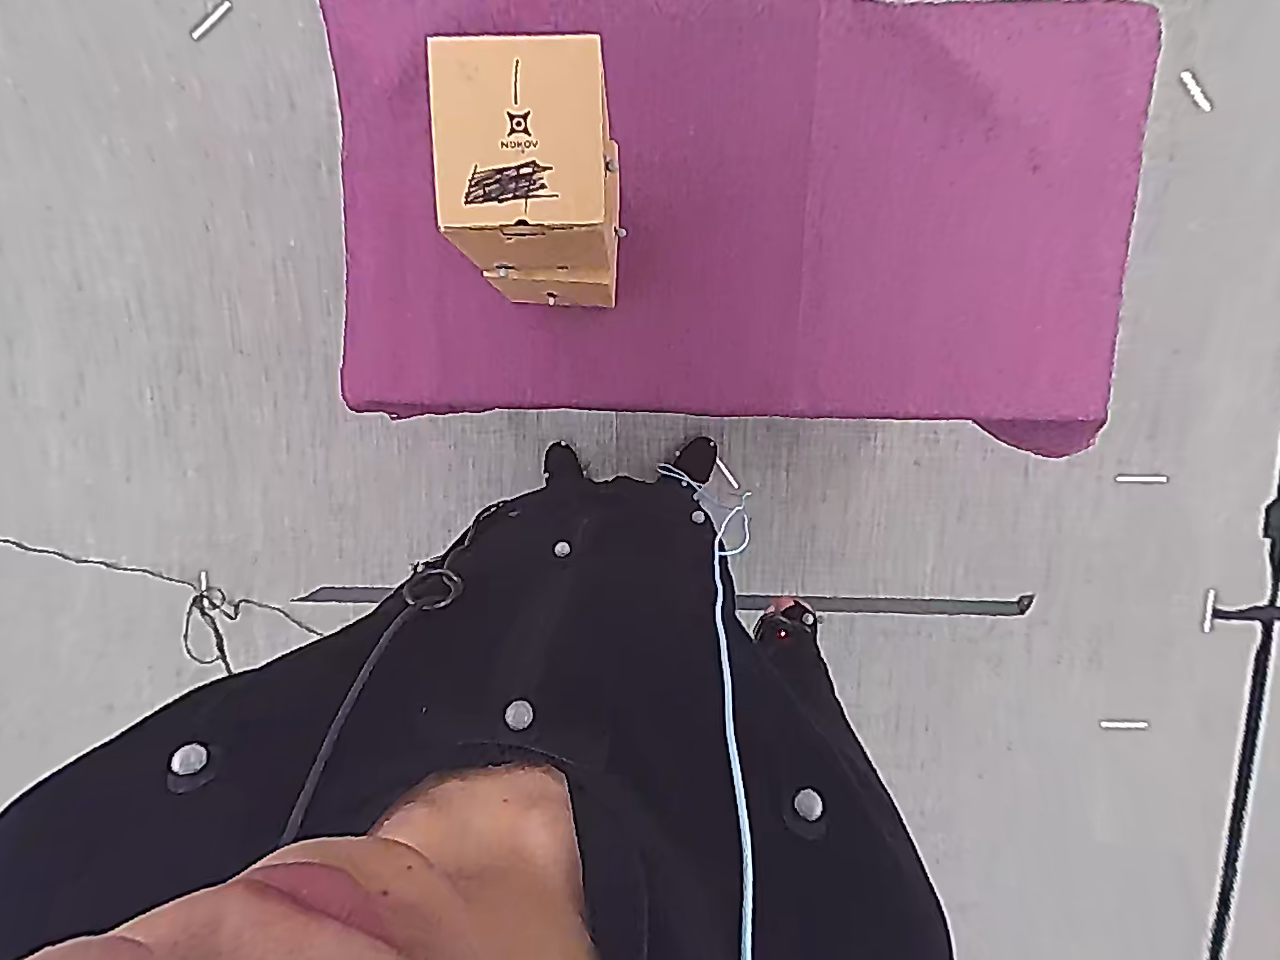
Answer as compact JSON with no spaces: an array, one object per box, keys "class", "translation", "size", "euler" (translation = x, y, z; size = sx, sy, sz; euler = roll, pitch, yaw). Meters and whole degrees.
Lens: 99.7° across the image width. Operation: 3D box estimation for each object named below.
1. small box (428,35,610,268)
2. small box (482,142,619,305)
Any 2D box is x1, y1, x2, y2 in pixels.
[{"class":"small box","translation":[-0.119,-0.343,0.599],"size":[0.168,0.176,0.179],"euler":[-1,97,-1]},{"class":"small box","translation":[-0.118,-0.353,0.764],"size":[0.168,0.176,0.179],"euler":[3,97,-2]}]
